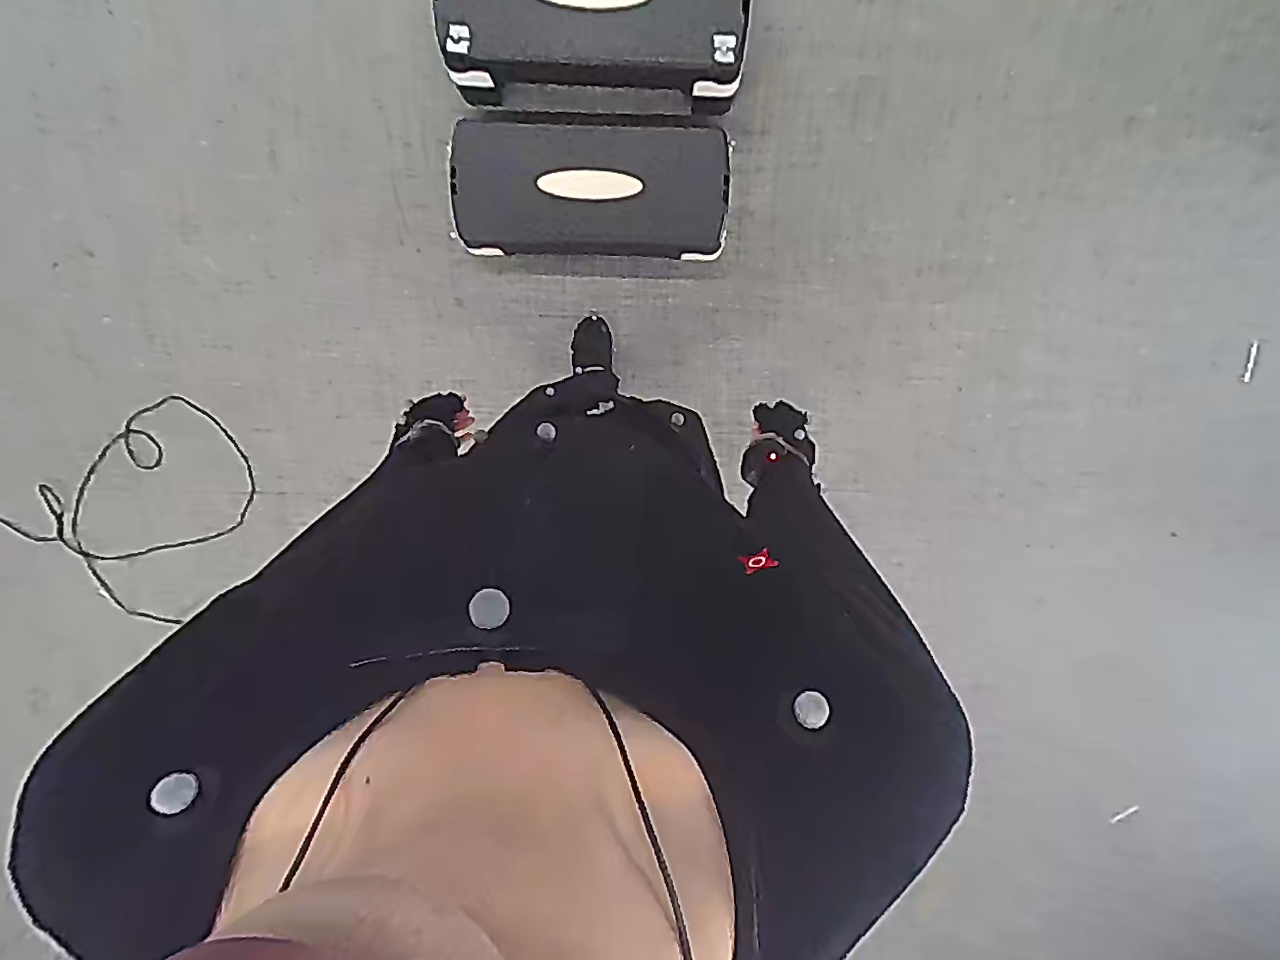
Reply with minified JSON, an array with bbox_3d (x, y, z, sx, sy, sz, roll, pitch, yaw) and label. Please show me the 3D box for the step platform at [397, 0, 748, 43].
[{"bbox_3d":[-0.126,-1.010,0.989,0.684,0.204,0.286,2,102,0],"label":"step platform"}]
